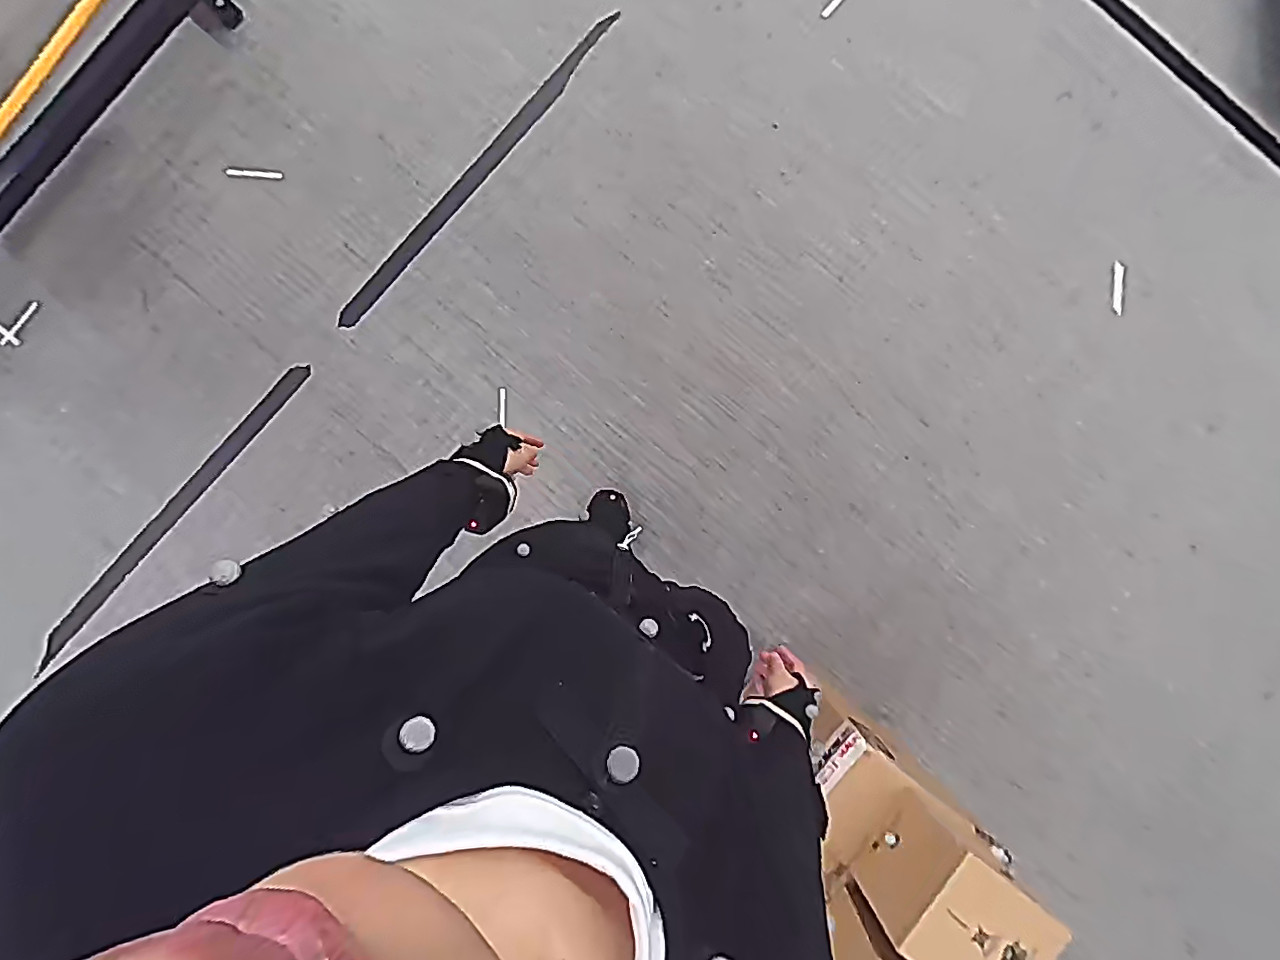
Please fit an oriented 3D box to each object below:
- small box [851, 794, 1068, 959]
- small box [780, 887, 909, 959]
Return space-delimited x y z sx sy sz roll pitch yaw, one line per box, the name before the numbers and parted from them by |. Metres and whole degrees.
small box | 0.454 0.614 0.798 0.179 0.176 0.168 39 87 2
small box | 0.340 0.773 0.794 0.179 0.176 0.168 39 93 1
